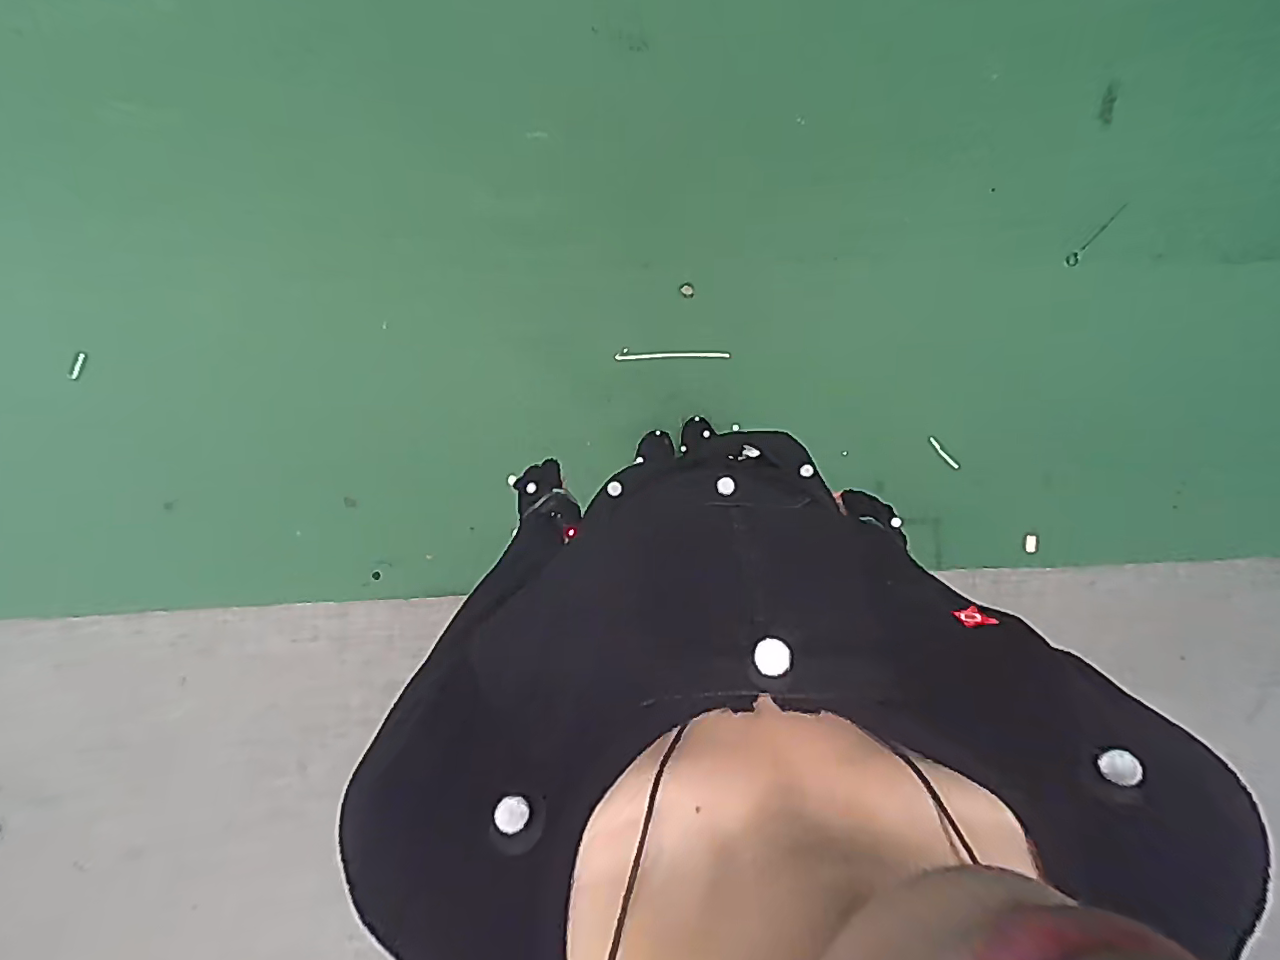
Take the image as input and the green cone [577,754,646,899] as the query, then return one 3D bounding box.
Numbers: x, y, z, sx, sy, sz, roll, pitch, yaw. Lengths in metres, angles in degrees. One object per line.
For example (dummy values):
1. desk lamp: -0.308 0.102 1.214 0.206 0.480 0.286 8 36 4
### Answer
1. green cone: -0.079 0.907 1.397 0.200 0.368 0.202 0 95 -1
